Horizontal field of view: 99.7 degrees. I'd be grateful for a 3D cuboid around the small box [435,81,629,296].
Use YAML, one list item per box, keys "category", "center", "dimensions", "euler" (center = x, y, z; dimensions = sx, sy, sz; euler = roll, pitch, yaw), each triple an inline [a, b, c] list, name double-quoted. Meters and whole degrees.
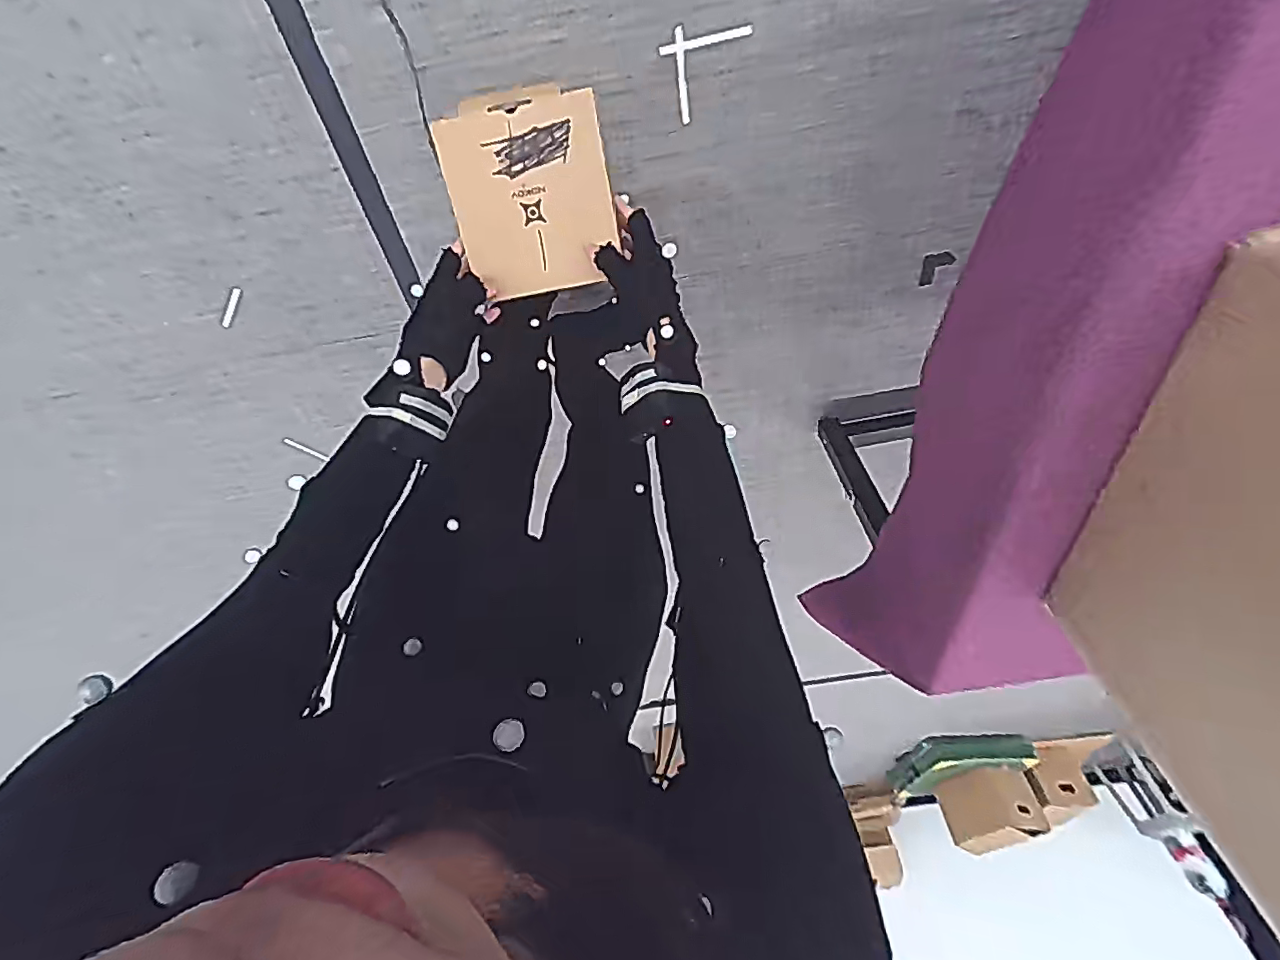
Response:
- category: "small box"
  center: [-0.108, -0.320, 0.624]
  dimensions: [0.168, 0.176, 0.179]
  euler: [-9, 113, 4]
